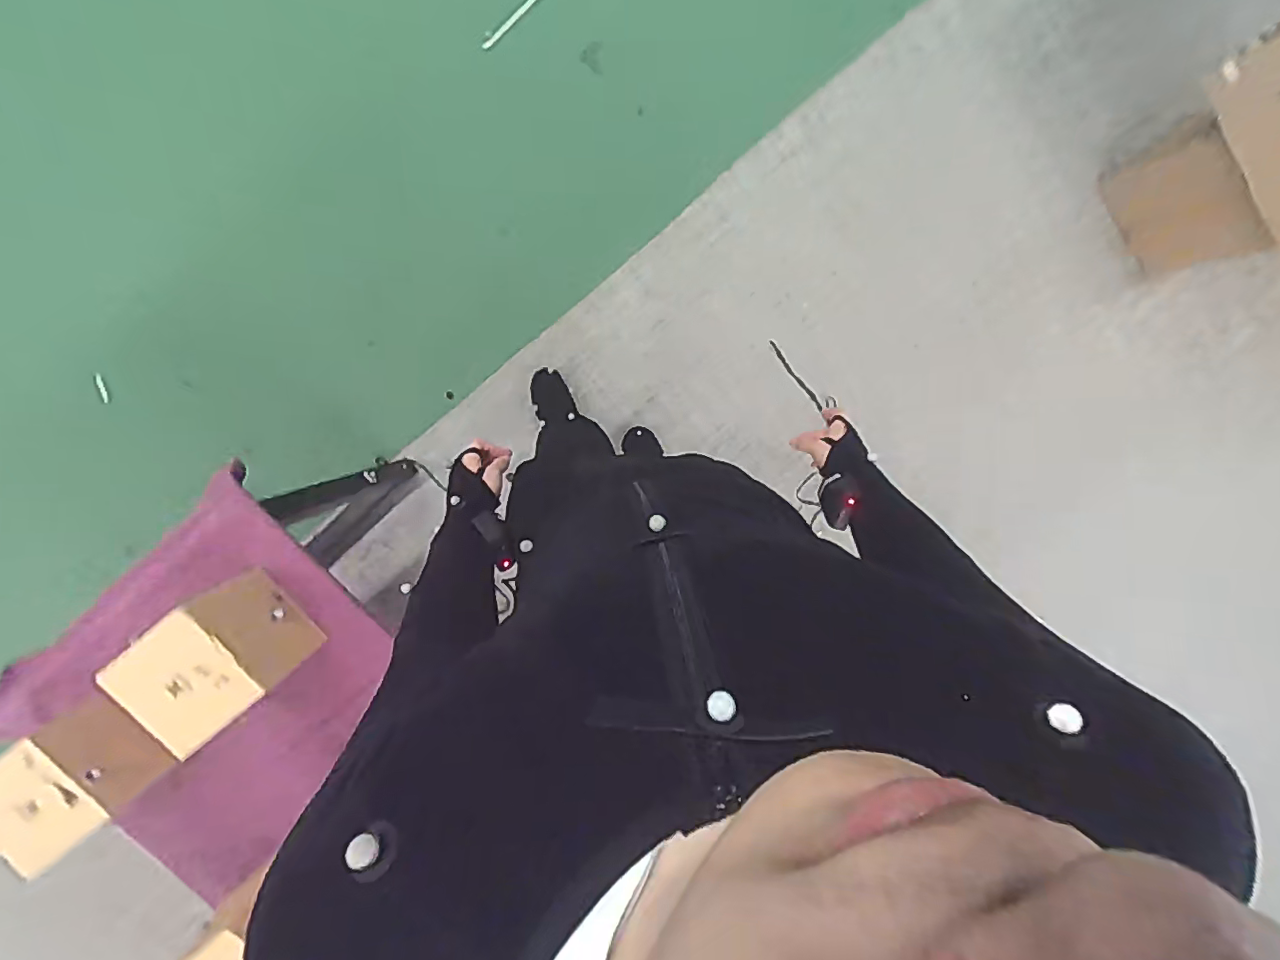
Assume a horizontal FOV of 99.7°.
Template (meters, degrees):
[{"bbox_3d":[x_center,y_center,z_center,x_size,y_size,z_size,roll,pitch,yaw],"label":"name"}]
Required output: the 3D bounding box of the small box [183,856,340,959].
[{"bbox_3d":[-0.641,0.798,0.910,0.179,0.176,0.168,-41,98,4],"label":"small box"}]

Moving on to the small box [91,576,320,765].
[{"bbox_3d":[-0.645,0.280,0.829,0.179,0.176,0.168,-38,99,5],"label":"small box"}]

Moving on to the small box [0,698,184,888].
[{"bbox_3d":[-0.892,0.477,0.858,0.179,0.176,0.168,-38,98,5],"label":"small box"}]
